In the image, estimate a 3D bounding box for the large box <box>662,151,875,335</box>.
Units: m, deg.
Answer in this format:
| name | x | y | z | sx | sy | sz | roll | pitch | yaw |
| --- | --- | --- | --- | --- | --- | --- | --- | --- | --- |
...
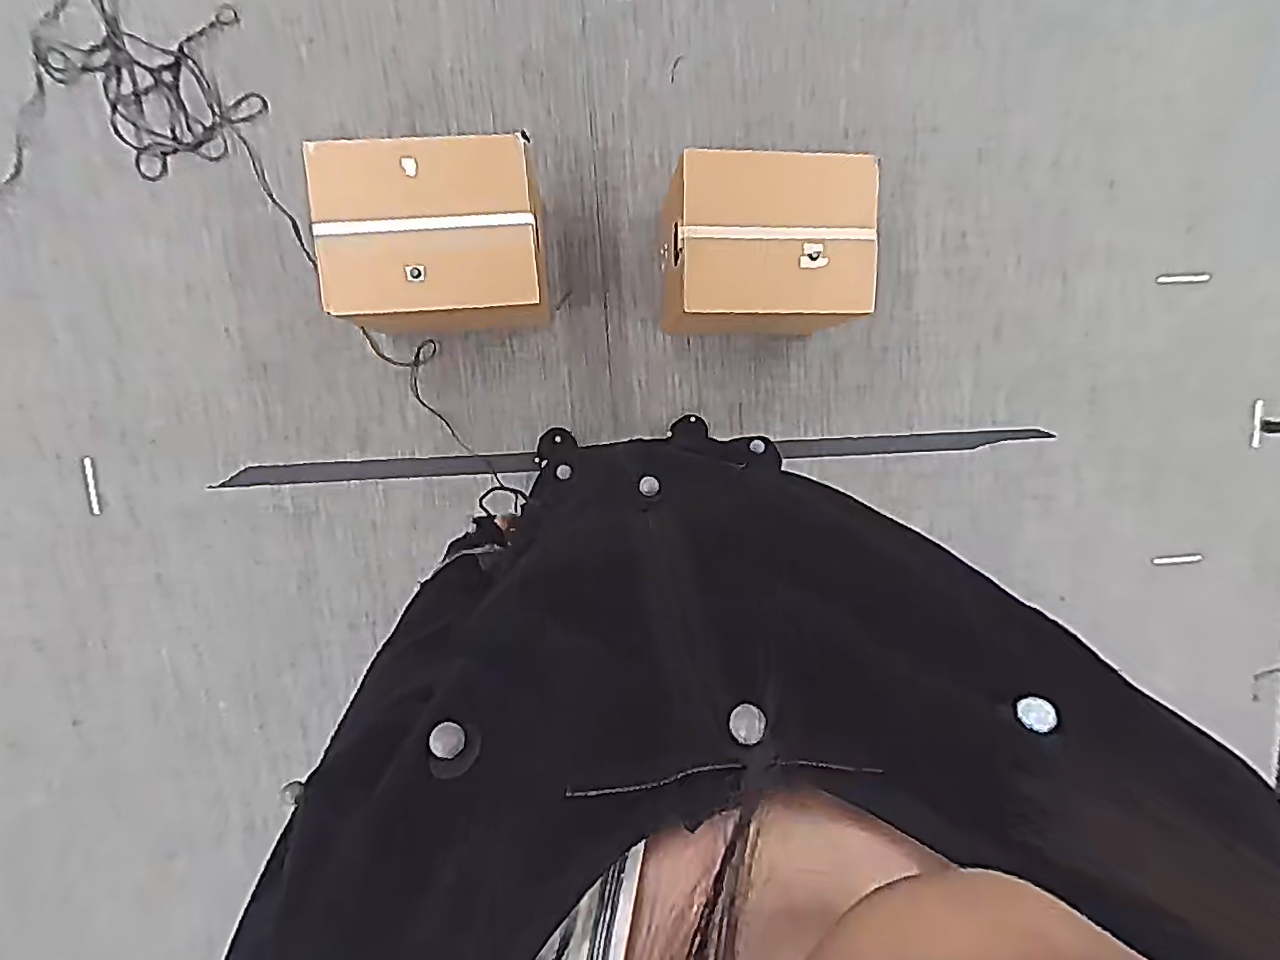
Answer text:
| name | x | y | z | sx | sy | sz | roll | pitch | yaw |
| --- | --- | --- | --- | --- | --- | --- | --- | --- | --- |
| large box | 0.270 | -0.518 | 1.246 | 0.408 | 0.320 | 0.320 | -1 | 97 | -6 |
